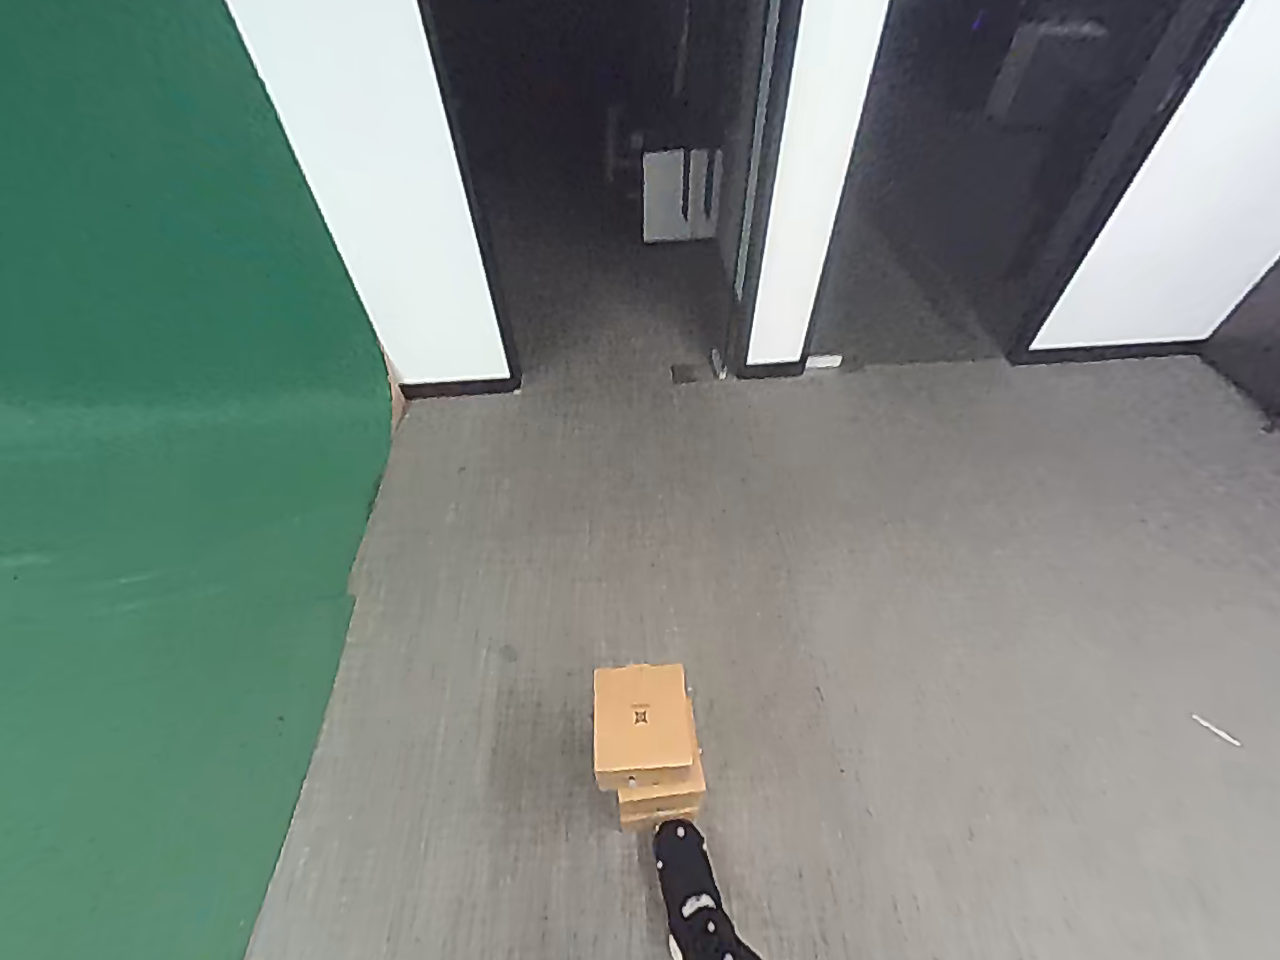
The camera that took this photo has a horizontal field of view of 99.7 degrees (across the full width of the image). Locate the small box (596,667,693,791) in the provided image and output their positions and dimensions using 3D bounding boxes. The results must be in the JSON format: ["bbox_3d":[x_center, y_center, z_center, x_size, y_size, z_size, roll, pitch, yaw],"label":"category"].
[{"bbox_3d":[0.008,0.467,1.004,0.168,0.176,0.179,-4,50,-1],"label":"small box"}]

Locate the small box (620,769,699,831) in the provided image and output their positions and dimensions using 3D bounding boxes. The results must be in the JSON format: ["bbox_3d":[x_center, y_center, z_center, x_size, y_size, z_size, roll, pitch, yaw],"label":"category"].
[{"bbox_3d":[0.038,0.690,1.241,0.168,0.176,0.179,-6,50,-4],"label":"small box"}]
